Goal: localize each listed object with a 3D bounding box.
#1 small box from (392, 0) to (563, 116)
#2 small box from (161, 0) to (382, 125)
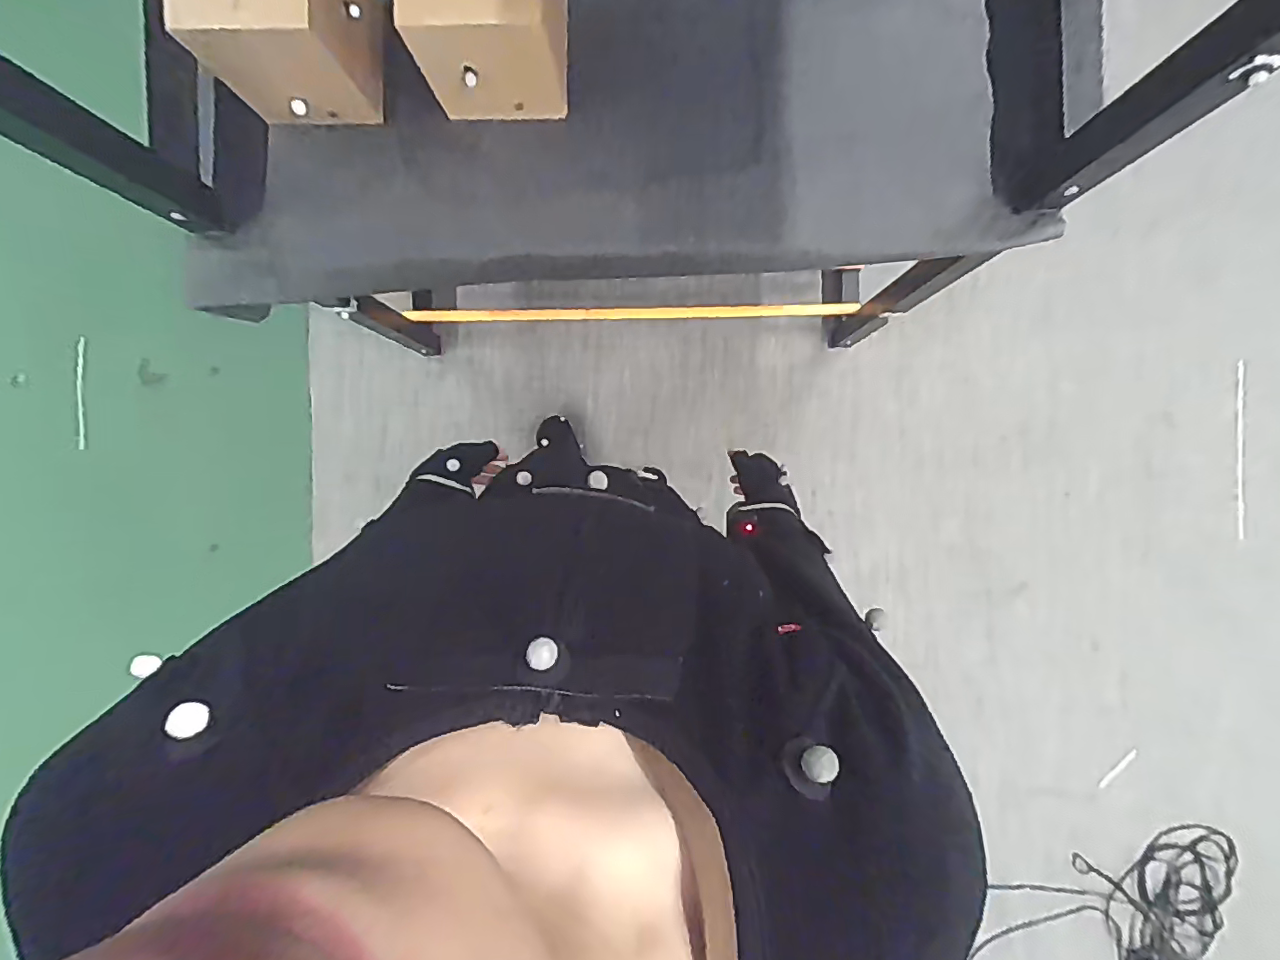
[{"bbox_3d":[-0.189,-0.586,0.671,0.168,0.176,0.179,0,91,1],"label":"small box"},{"bbox_3d":[-0.442,-0.584,0.673,0.168,0.176,0.179,0,92,1],"label":"small box"}]
